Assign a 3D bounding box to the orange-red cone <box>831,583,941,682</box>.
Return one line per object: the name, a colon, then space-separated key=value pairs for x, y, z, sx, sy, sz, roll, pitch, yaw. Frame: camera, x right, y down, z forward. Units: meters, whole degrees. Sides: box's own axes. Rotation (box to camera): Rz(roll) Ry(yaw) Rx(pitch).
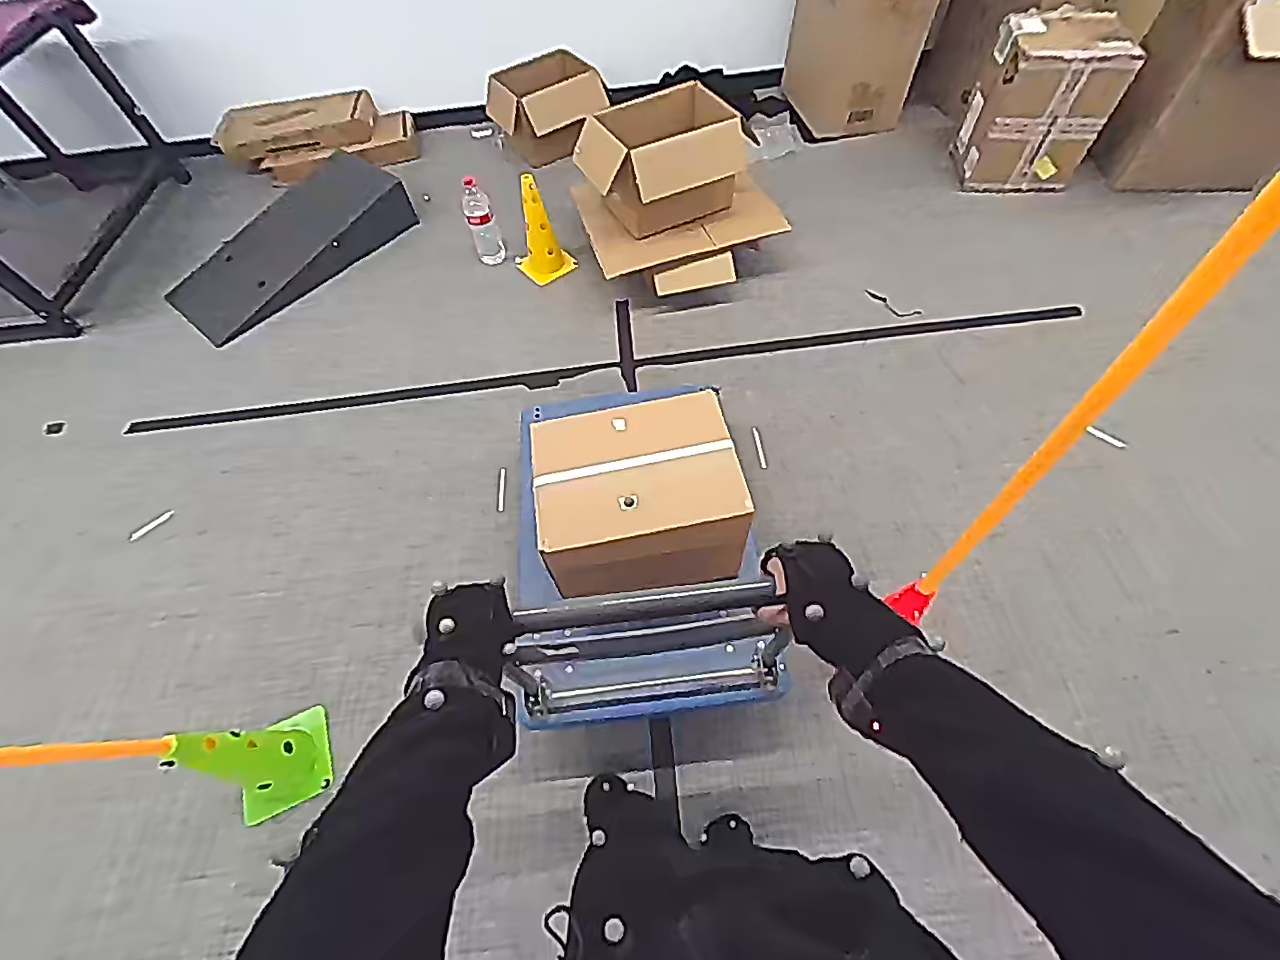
orange-red cone: x=0.570 y=0.304 z=1.183 sx=0.199 sy=0.360 sz=0.198 roll=0 pitch=59 yaw=3
